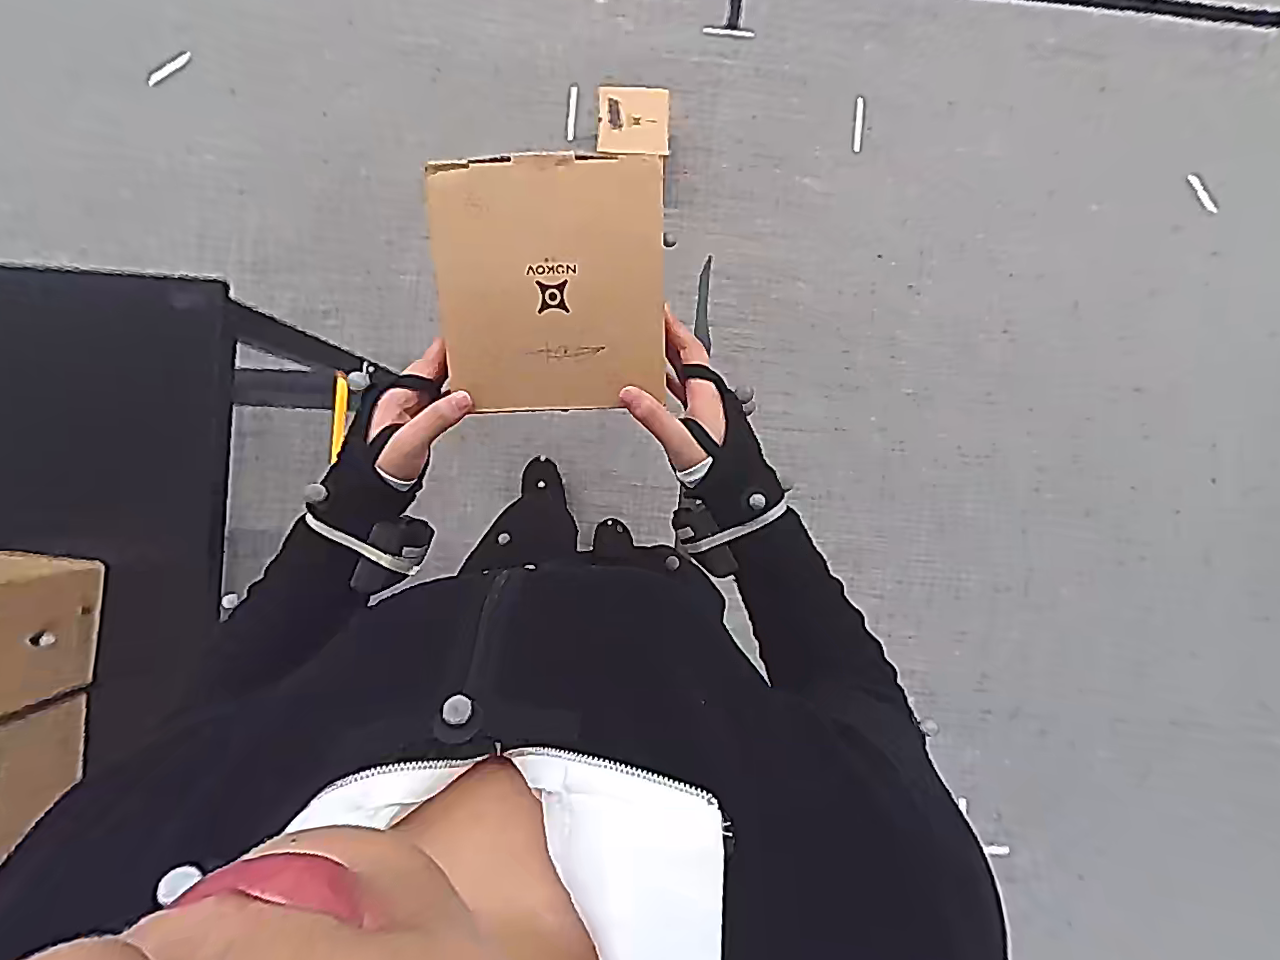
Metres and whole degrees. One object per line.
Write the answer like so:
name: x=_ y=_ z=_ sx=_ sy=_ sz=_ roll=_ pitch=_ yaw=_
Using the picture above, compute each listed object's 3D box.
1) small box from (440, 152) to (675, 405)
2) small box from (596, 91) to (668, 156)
small box: x=-0.059 y=-0.162 z=0.473 sx=0.168 sy=0.176 sz=0.179 roll=-1 pitch=105 yaw=-1
small box: x=-0.022 y=-0.876 z=1.417 sx=0.179 sy=0.176 sz=0.168 roll=1 pitch=90 yaw=-2
